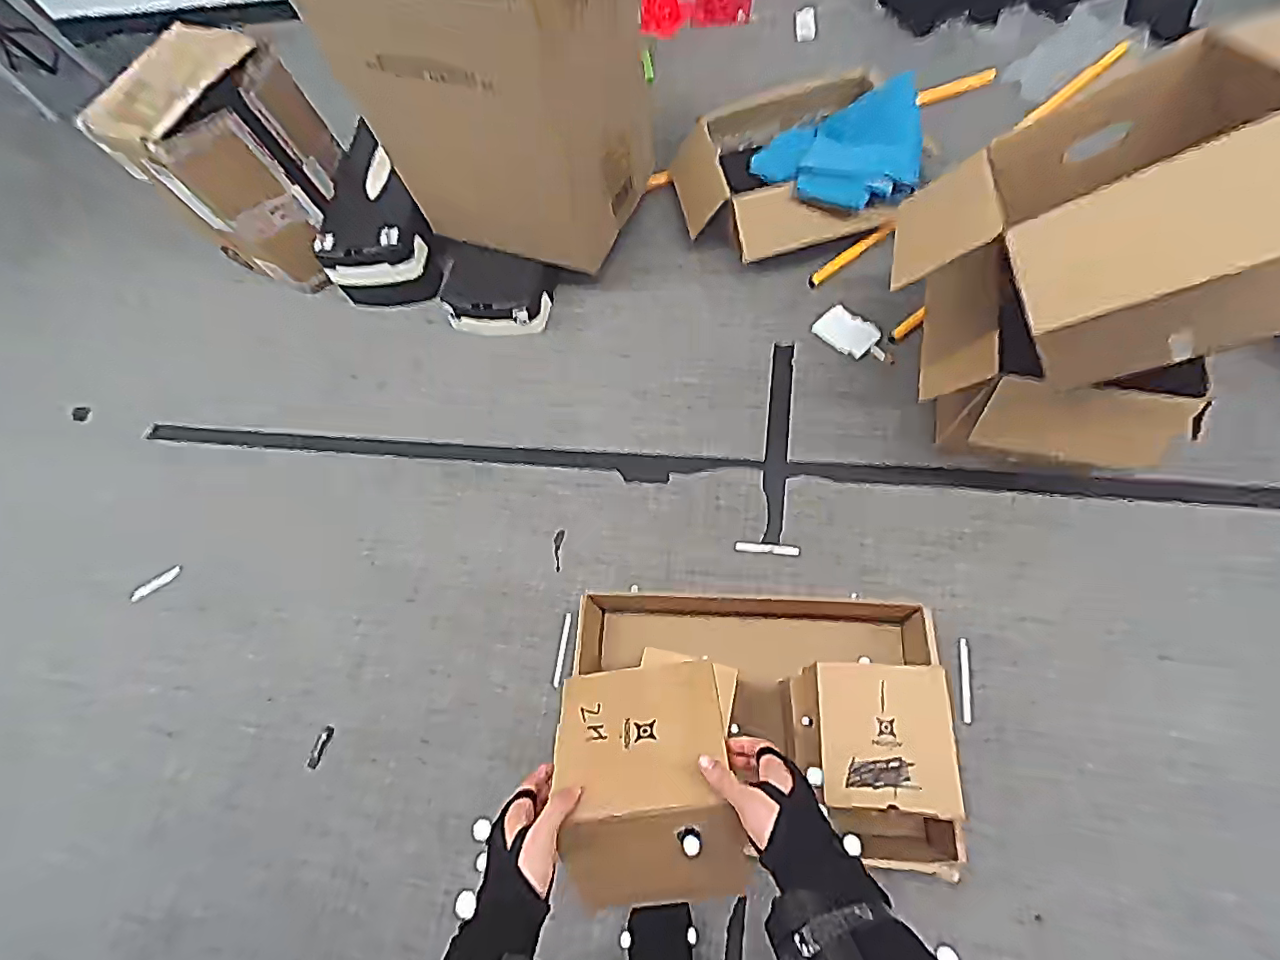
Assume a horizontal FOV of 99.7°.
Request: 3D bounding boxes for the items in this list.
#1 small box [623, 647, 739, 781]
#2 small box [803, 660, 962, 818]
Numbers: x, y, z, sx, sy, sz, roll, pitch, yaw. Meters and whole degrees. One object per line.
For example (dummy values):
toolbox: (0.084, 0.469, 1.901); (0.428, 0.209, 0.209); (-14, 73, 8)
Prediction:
small box: (0.077, 0.412, 0.967); (0.168, 0.176, 0.179); (10, 70, 11)
small box: (0.328, 0.357, 0.769); (0.168, 0.176, 0.179); (0, 67, 9)
